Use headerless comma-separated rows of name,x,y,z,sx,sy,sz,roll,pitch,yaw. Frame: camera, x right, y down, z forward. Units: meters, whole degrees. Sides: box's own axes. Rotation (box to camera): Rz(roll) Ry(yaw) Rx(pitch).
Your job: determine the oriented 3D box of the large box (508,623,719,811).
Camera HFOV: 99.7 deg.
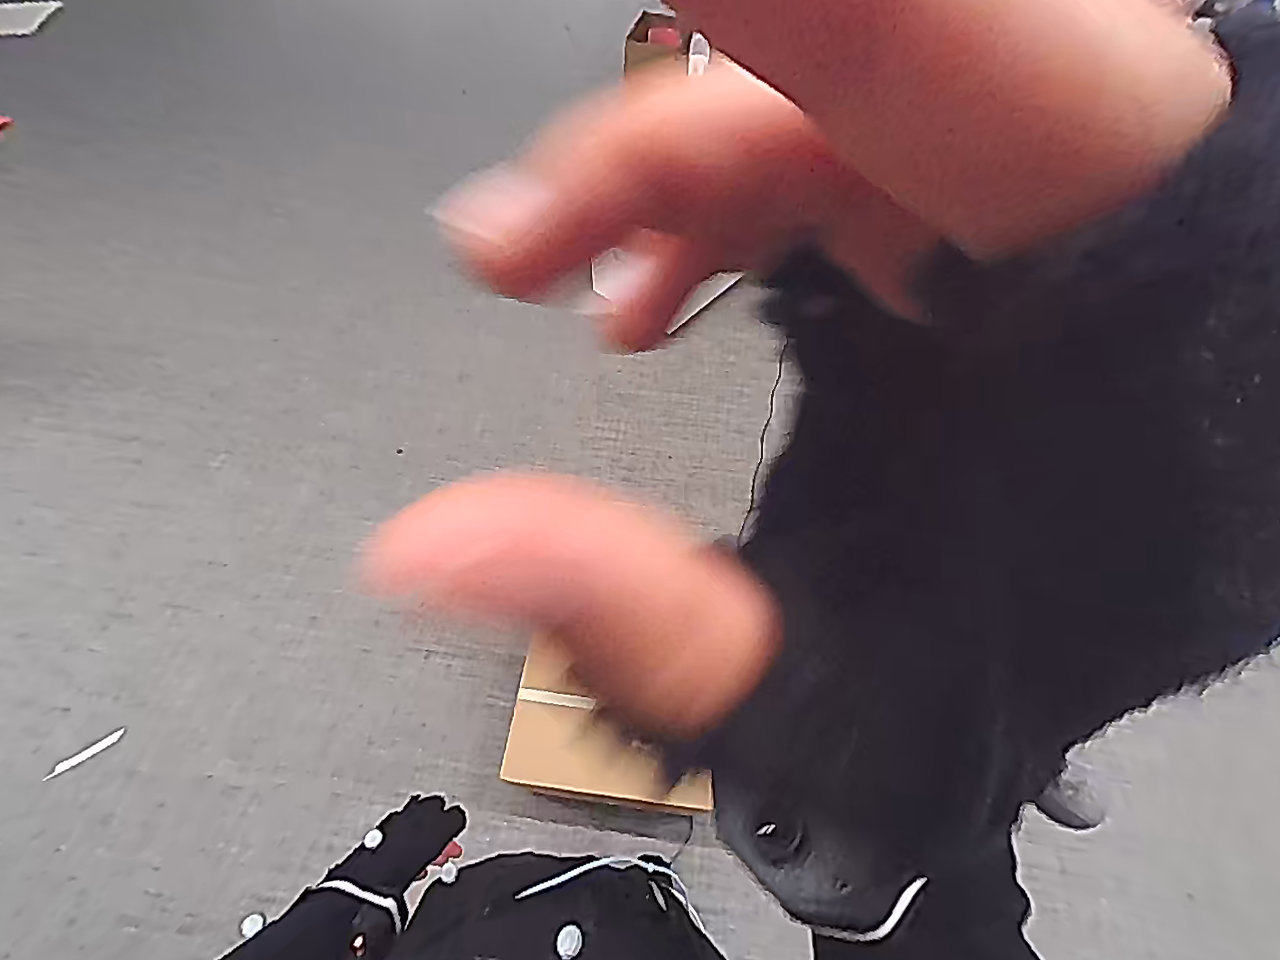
large box,-0.046,0.542,1.222,0.408,0.320,0.320,6,58,3
